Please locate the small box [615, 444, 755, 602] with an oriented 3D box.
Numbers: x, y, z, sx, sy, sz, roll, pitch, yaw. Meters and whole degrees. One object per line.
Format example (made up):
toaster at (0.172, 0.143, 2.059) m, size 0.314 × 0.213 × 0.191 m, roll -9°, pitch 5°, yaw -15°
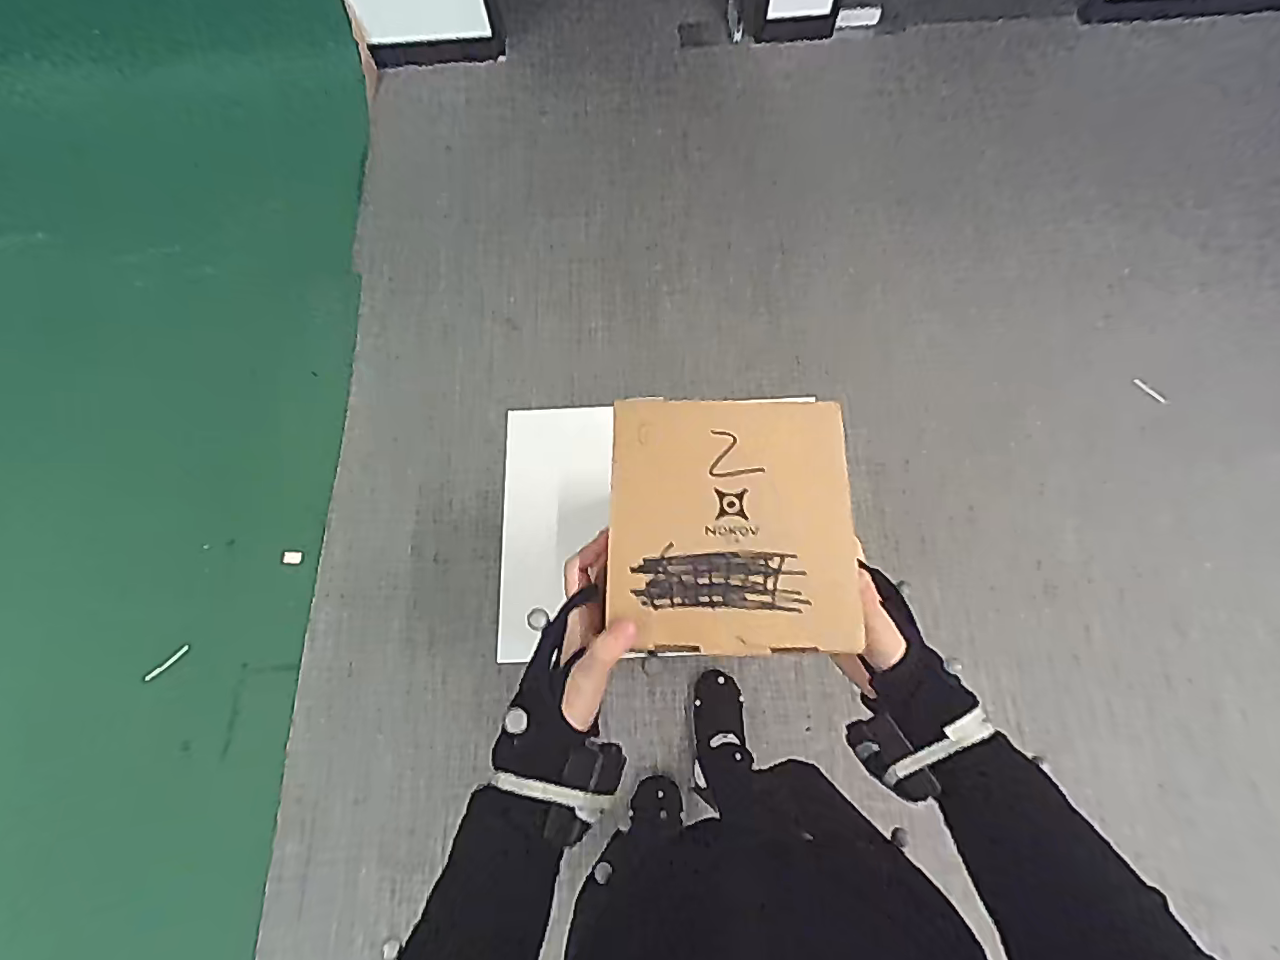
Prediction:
small box at (0.055, 0.064, 0.730) m, size 0.168 × 0.176 × 0.179 m, roll 0°, pitch 70°, yaw 2°
